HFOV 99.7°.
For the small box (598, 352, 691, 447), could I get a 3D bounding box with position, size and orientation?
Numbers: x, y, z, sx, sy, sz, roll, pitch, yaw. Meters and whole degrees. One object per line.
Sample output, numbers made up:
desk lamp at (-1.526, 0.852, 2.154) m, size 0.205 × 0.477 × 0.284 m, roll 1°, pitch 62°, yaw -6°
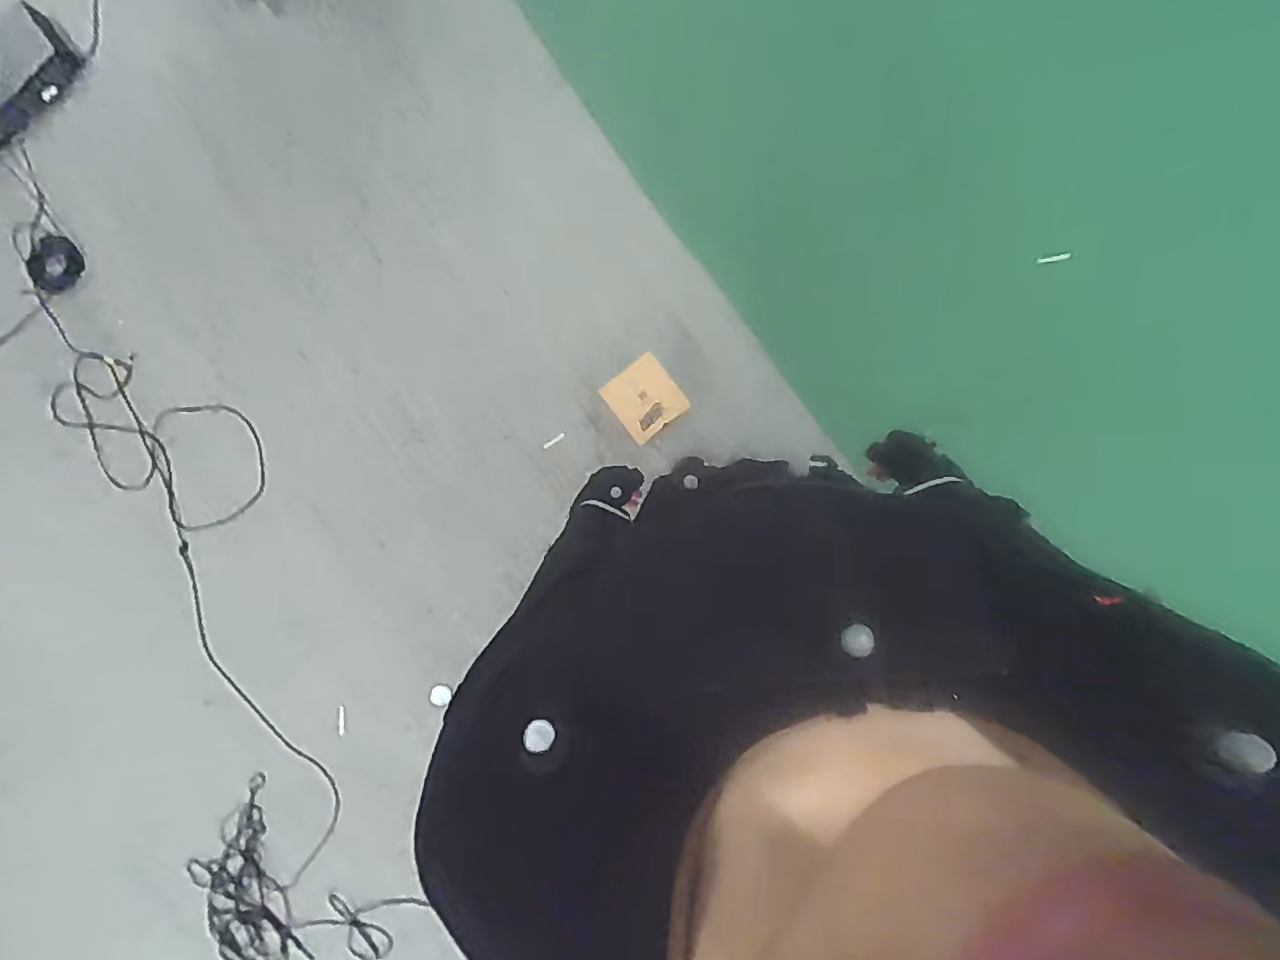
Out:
small box at (0.020, -0.204, 1.406) m, size 0.168 × 0.176 × 0.179 m, roll -38°, pitch 88°, yaw 7°
